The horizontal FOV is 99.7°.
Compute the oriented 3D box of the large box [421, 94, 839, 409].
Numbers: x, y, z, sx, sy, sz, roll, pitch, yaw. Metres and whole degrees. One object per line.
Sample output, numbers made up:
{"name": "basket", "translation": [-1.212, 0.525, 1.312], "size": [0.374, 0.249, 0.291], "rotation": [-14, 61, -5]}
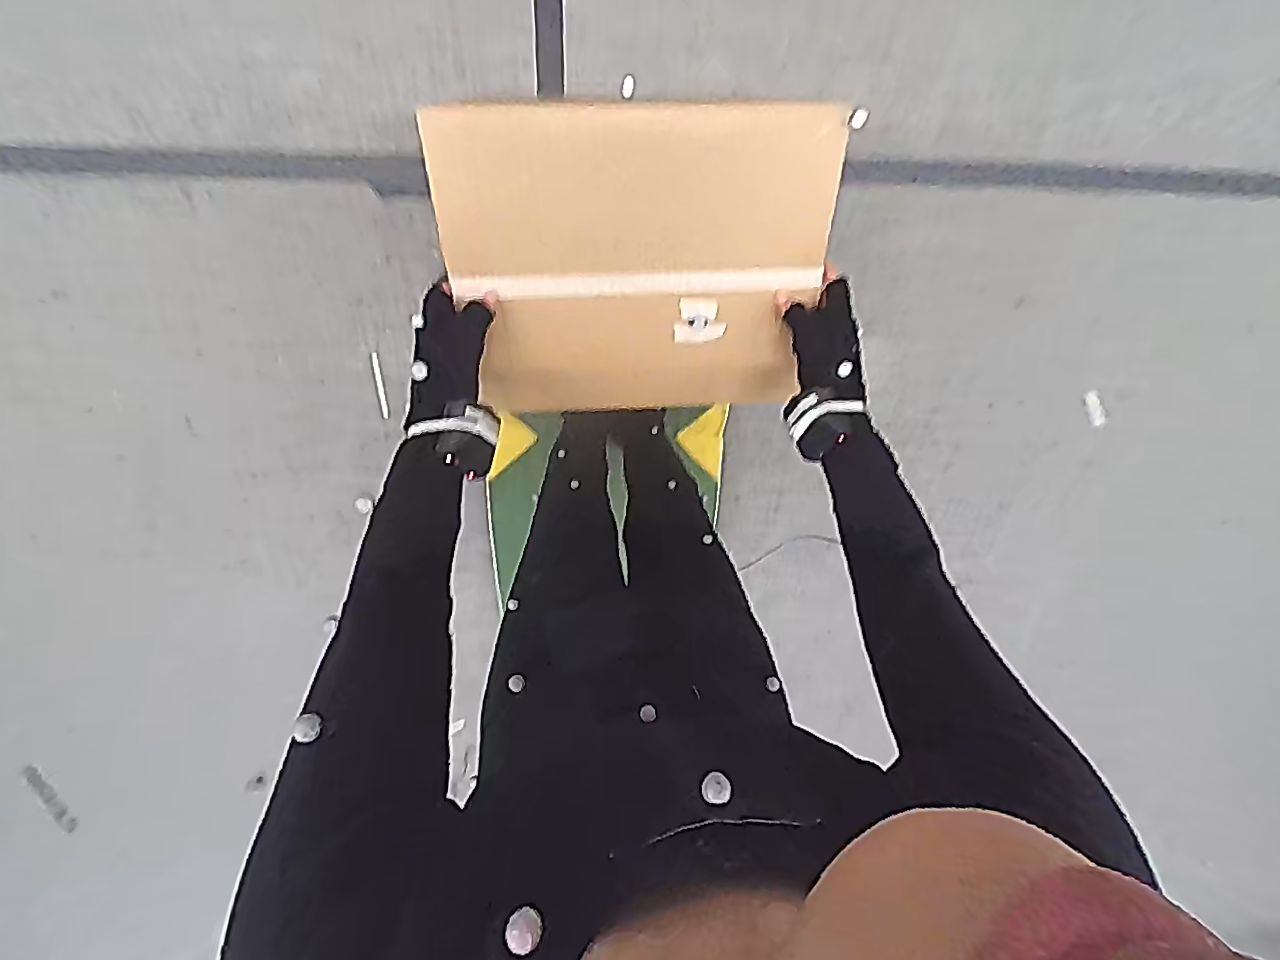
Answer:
{"name": "large box", "translation": [-0.017, -0.311, 0.712], "size": [0.408, 0.320, 0.320], "rotation": [-4, 127, -4]}
